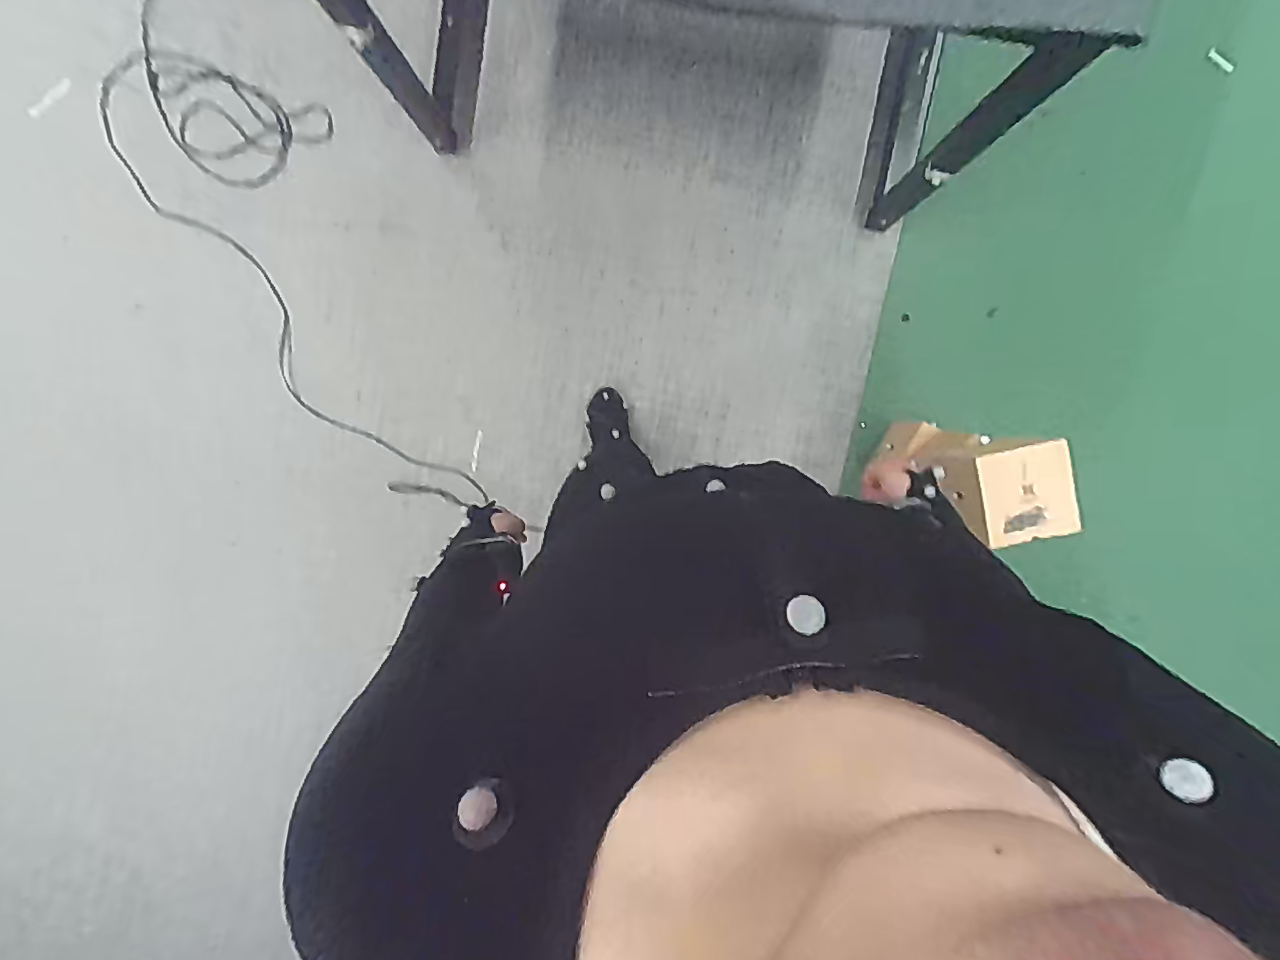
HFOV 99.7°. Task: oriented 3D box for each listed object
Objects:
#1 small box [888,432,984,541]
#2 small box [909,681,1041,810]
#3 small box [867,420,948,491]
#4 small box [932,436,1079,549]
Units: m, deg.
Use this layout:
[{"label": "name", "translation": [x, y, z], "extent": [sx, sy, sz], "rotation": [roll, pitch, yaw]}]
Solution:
[{"label": "small box", "translation": [0.700, 0.007, 1.215], "extent": [0.168, 0.176, 0.179], "rotation": [-42, 95, 6]}, {"label": "small box", "translation": [0.673, 0.536, 1.108], "extent": [0.179, 0.176, 0.168], "rotation": [-9, 96, 2]}, {"label": "small box", "translation": [0.714, -0.040, 1.372], "extent": [0.179, 0.176, 0.168], "rotation": [27, 97, -2]}, {"label": "small box", "translation": [0.699, 0.017, 1.050], "extent": [0.168, 0.176, 0.179], "rotation": [-12, 95, 3]}]
